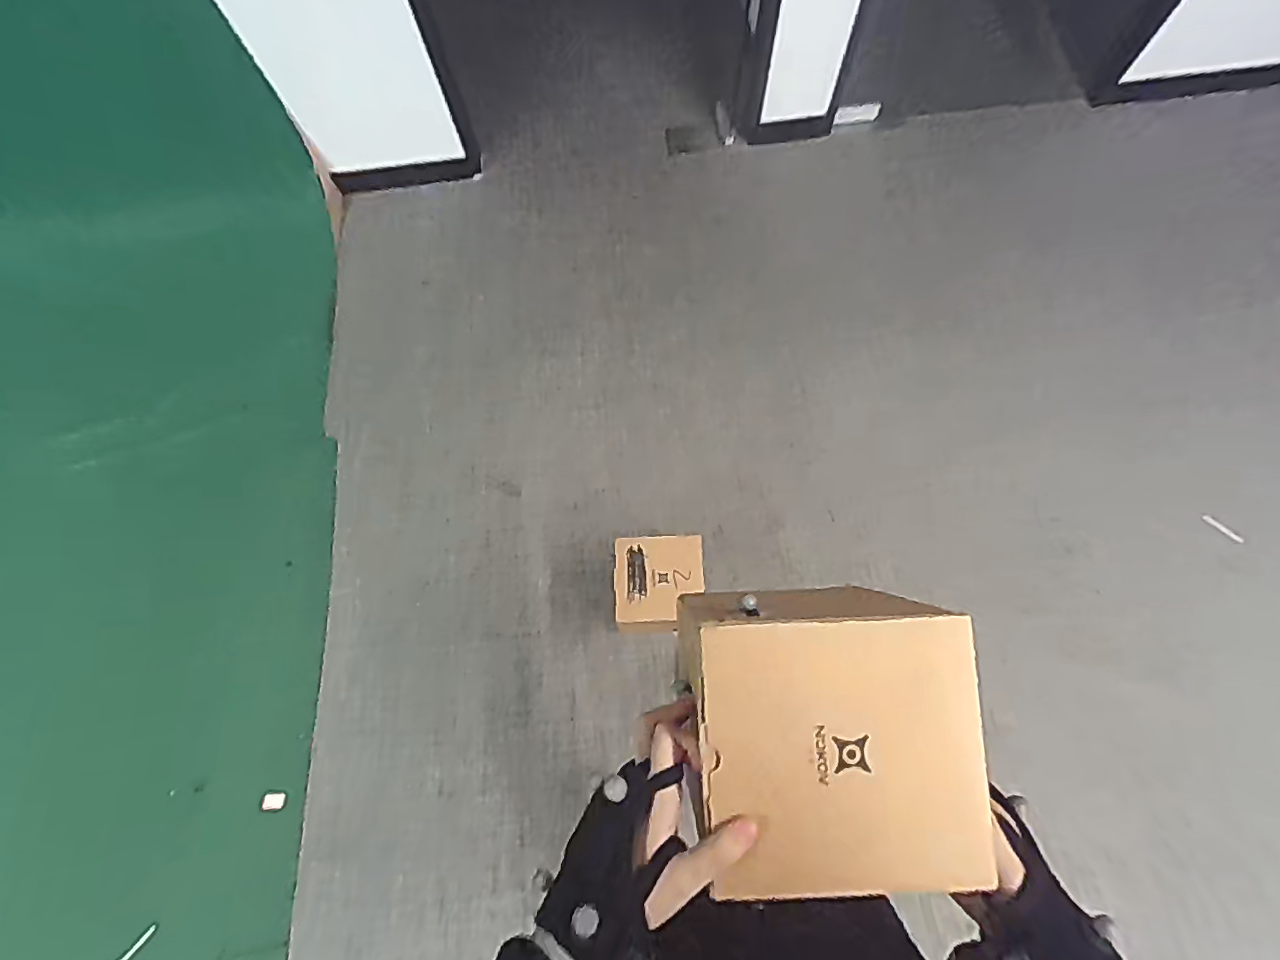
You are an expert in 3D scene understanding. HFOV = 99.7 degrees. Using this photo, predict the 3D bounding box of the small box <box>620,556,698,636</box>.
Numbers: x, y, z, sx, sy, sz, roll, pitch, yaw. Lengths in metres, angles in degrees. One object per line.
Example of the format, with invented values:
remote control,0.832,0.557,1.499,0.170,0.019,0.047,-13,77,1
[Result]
small box,0.045,0.277,1.280,0.179,0.176,0.168,-1,70,2

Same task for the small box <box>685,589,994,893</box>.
small box,0.132,0.179,0.423,0.179,0.176,0.168,-3,84,1
